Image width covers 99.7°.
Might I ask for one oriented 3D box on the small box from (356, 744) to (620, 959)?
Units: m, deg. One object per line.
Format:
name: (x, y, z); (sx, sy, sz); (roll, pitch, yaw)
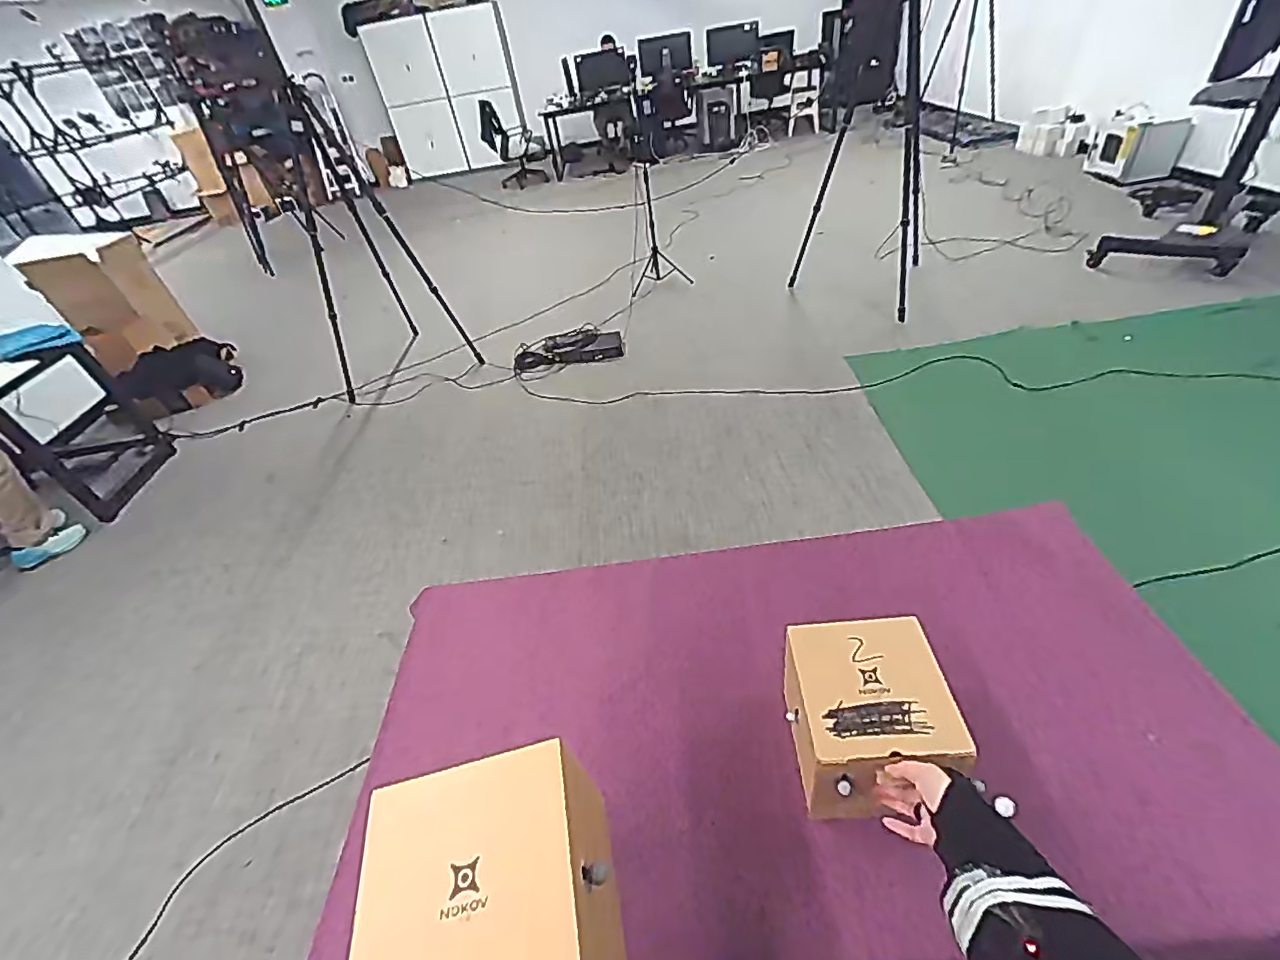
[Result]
small box: (-0.119, 0.365, 0.468); (0.168, 0.176, 0.179); (-15, 45, -2)
